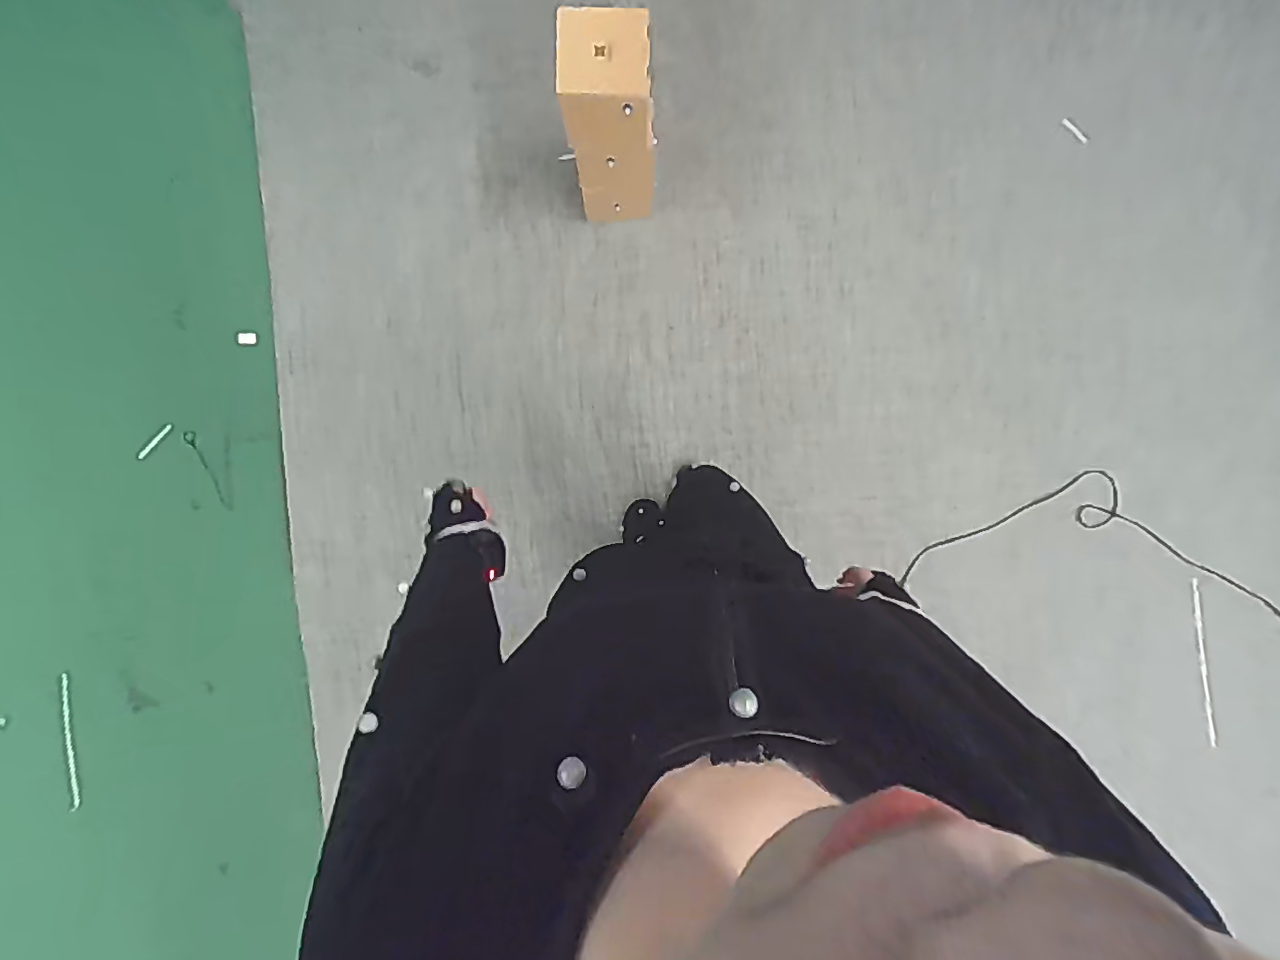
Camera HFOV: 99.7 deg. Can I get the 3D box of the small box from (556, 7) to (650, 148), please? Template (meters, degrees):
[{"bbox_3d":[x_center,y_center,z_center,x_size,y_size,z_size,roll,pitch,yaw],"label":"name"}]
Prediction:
[{"bbox_3d":[-0.070,-0.805,1.096,0.179,0.176,0.168,1,90,-1],"label":"small box"}]

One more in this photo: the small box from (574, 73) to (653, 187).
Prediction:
[{"bbox_3d":[-0.059,-0.806,1.259,0.179,0.176,0.168,-2,91,0],"label":"small box"}]
